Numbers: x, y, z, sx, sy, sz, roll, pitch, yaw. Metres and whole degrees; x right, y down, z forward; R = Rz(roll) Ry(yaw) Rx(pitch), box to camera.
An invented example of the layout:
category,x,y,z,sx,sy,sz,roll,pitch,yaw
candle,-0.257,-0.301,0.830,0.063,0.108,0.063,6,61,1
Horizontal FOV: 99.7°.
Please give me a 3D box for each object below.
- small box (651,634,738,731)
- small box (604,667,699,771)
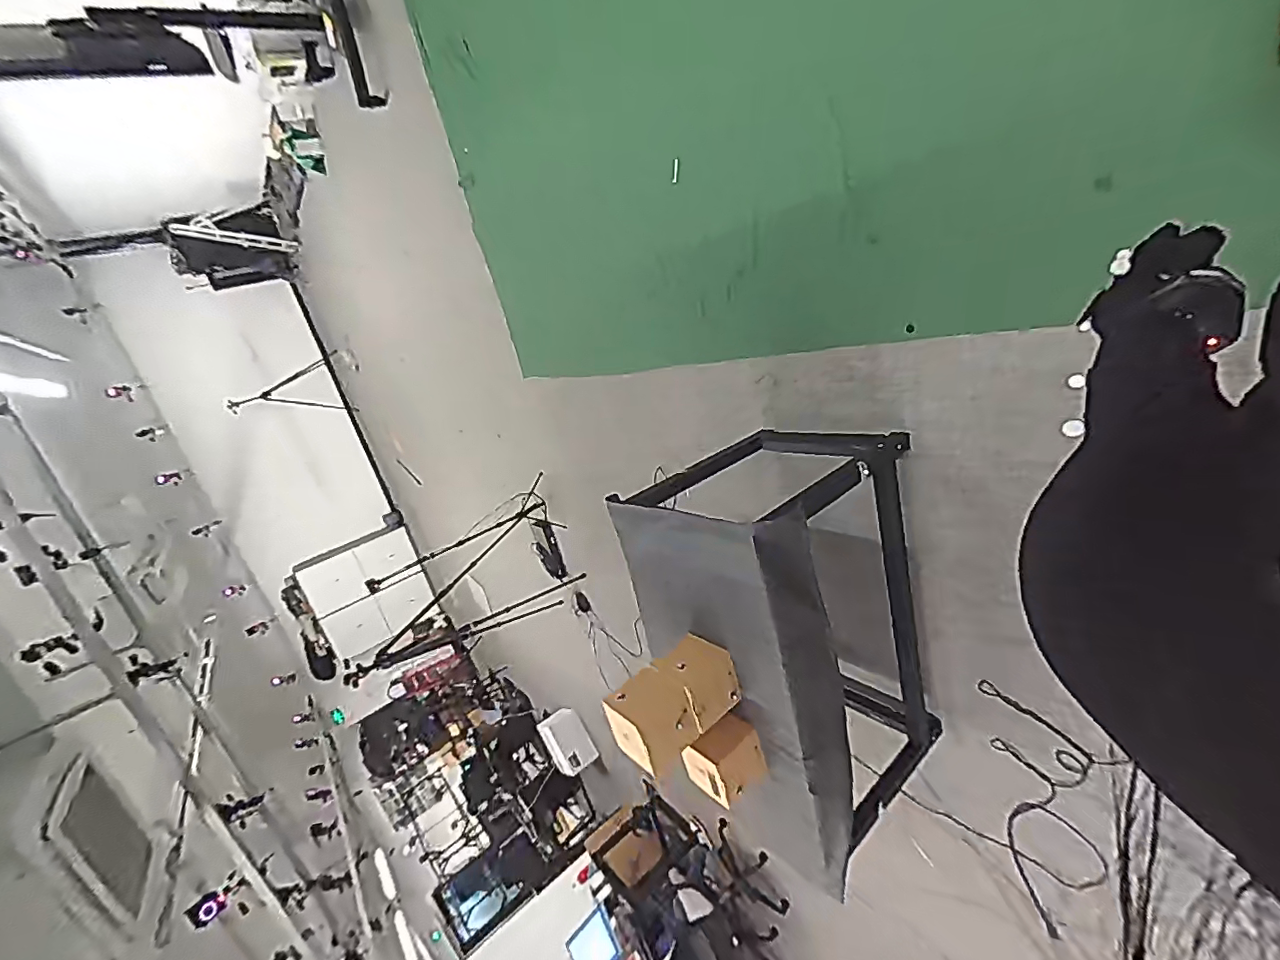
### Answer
category,x,y,z,sx,sy,sz,roll,pitch,yaw
small box,0.164,0.570,1.552,0.179,0.176,0.168,8,119,55
small box,0.033,0.643,1.483,0.179,0.176,0.168,5,117,54
